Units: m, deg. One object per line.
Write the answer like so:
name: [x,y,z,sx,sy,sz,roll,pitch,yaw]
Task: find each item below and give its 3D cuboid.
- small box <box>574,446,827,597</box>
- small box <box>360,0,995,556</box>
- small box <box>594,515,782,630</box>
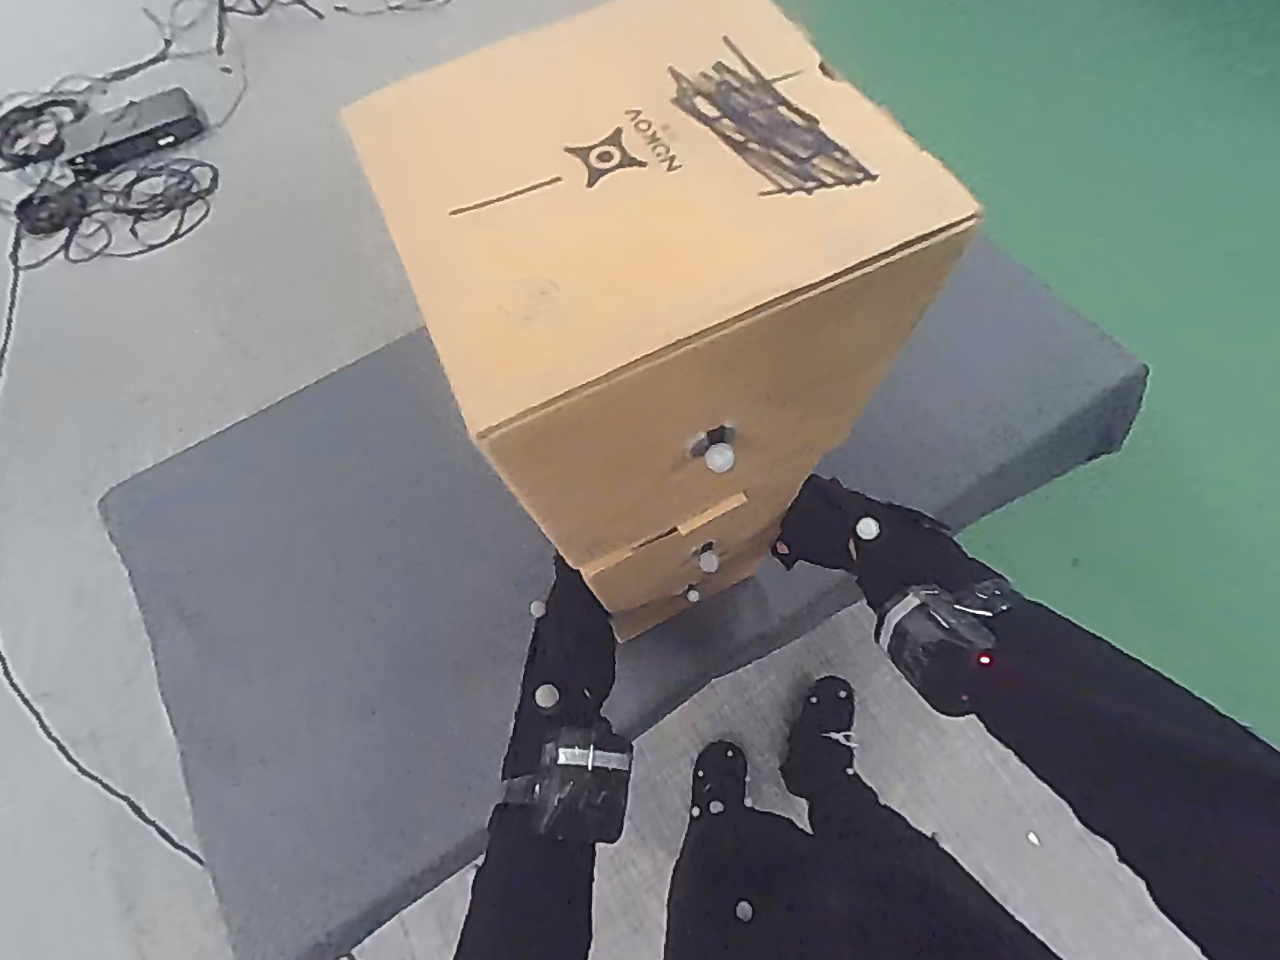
small box: [0.008,-0.023,0.416,0.168,0.176,0.179,-27,70,-8]
small box: [0.007,-0.084,0.263,0.179,0.176,0.168,-25,68,-6]
small box: [0.019,0.041,0.567,0.179,0.176,0.168,-26,69,-9]
